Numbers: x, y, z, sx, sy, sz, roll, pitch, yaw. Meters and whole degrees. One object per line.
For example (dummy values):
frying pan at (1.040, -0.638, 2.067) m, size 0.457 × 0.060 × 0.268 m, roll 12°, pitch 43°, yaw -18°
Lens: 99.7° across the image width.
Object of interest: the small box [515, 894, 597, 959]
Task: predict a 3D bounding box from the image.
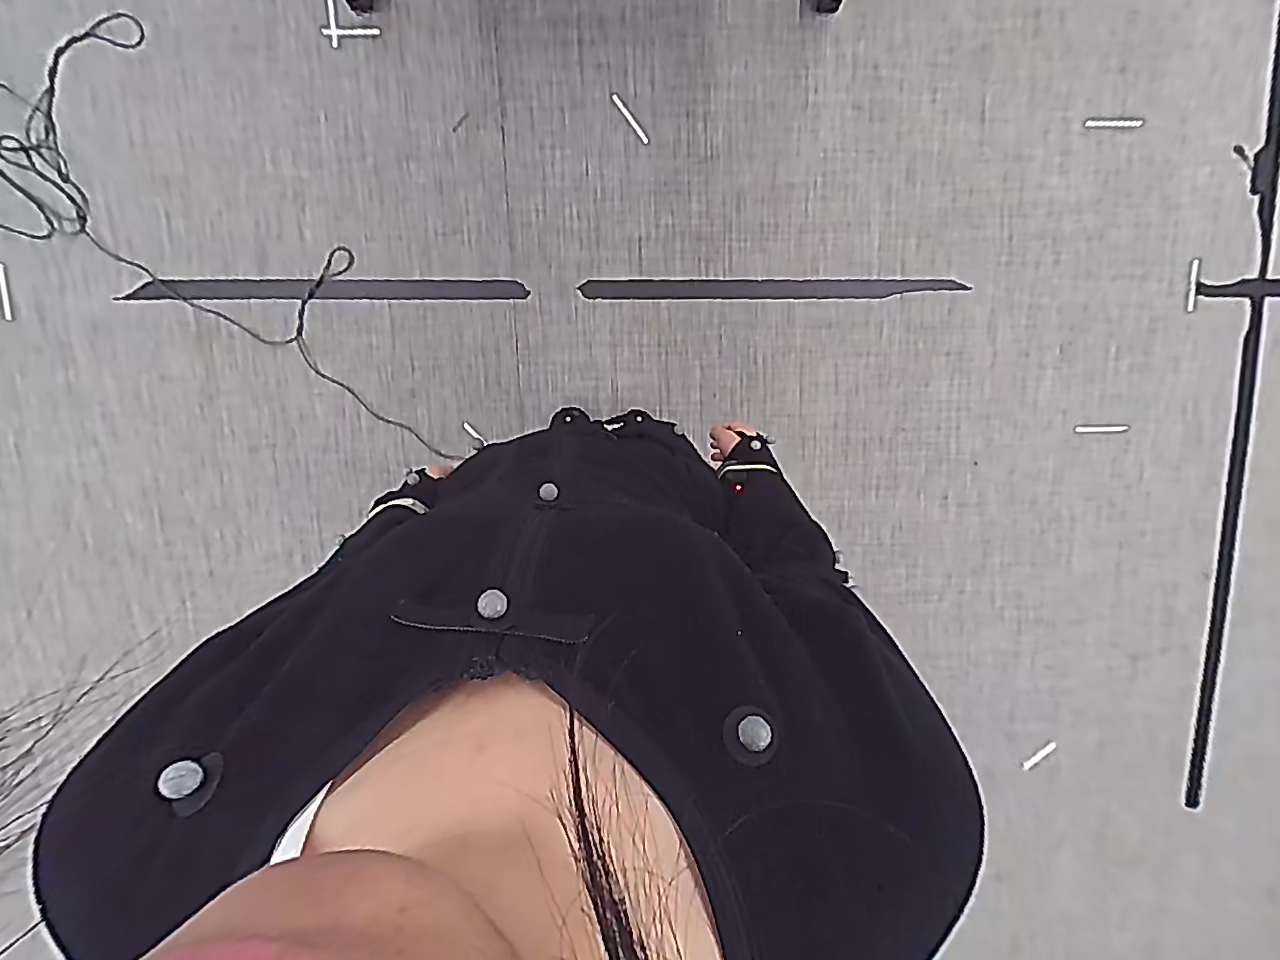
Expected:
small box at (-0.190, 1.106, 1.256) m, size 0.179 × 0.176 × 0.168 m, roll -3°, pitch 96°, yaw -1°
